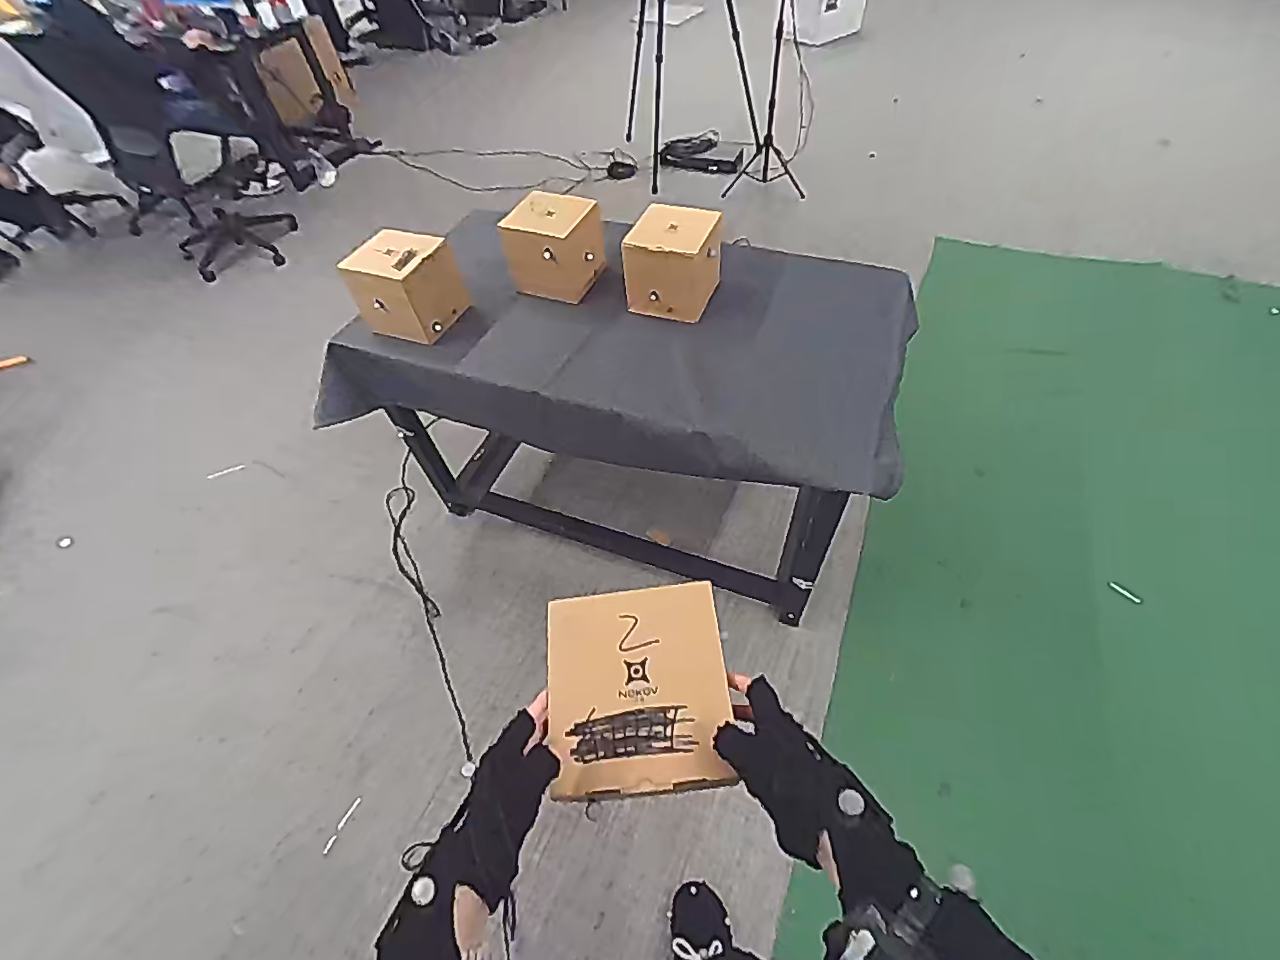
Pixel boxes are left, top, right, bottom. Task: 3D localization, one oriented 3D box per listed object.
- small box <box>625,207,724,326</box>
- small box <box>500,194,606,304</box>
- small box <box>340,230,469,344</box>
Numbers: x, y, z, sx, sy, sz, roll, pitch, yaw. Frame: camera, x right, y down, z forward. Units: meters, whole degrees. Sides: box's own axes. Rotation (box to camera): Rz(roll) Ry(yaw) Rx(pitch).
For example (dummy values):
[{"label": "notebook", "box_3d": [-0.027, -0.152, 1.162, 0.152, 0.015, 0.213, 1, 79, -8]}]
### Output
[{"label": "small box", "box_3d": [0.078, -0.473, 1.203, 0.168, 0.176, 0.179, 16, 56, 16]}, {"label": "small box", "box_3d": [-0.195, -0.540, 1.272, 0.179, 0.176, 0.168, 18, 57, 17]}, {"label": "small box", "box_3d": [-0.517, -0.430, 1.216, 0.179, 0.176, 0.168, 16, 55, 17]}]
